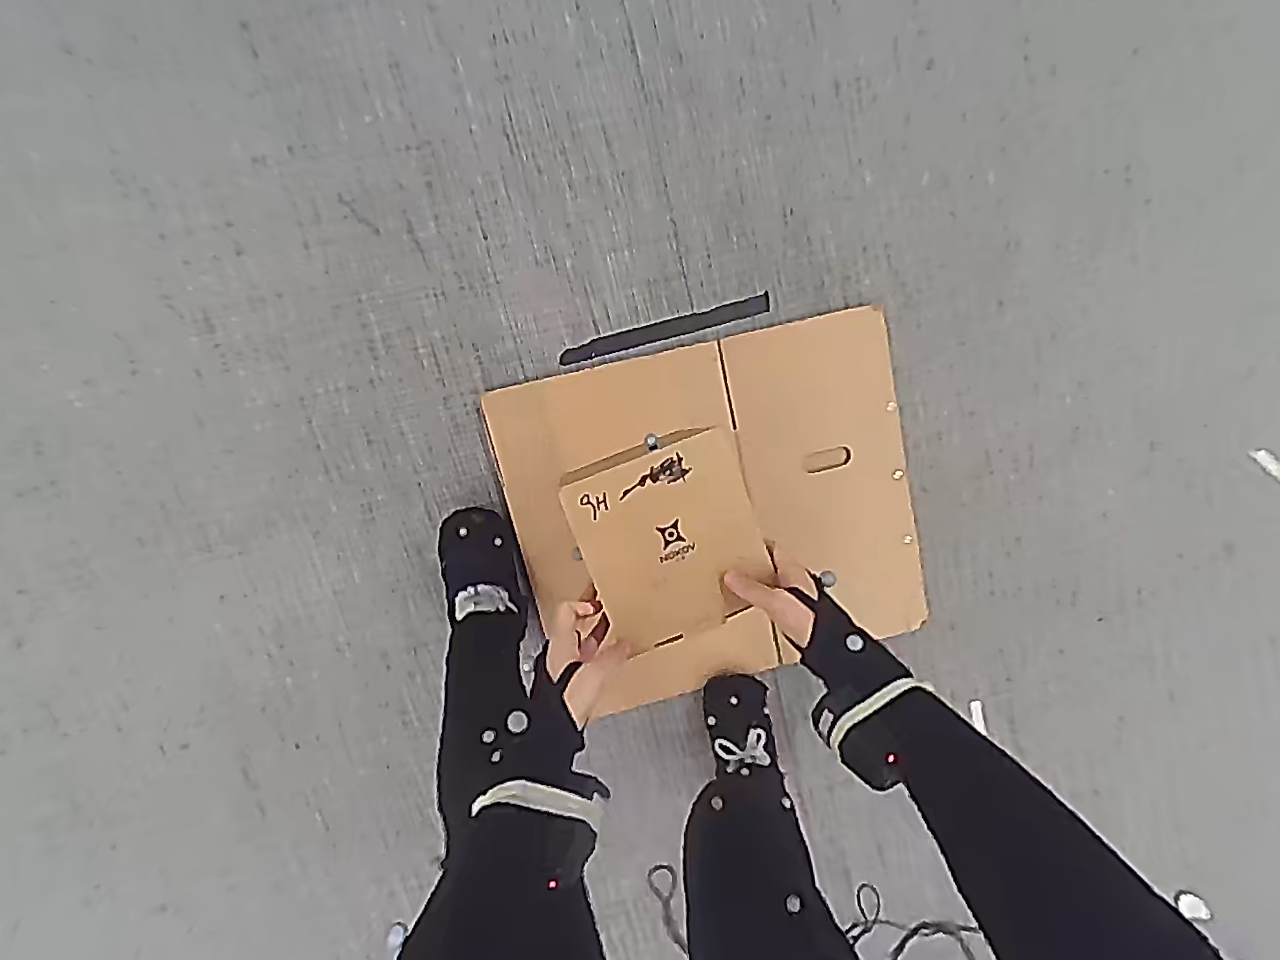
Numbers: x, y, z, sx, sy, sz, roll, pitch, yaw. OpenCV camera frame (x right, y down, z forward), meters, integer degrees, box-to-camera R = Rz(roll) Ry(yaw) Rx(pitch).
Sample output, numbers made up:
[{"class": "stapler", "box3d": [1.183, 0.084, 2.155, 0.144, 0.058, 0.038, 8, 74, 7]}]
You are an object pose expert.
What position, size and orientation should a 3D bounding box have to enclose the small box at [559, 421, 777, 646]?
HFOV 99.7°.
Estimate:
[{"class": "small box", "box3d": [0.020, 0.043, 0.586, 0.168, 0.176, 0.179, -21, 97, -6]}]
